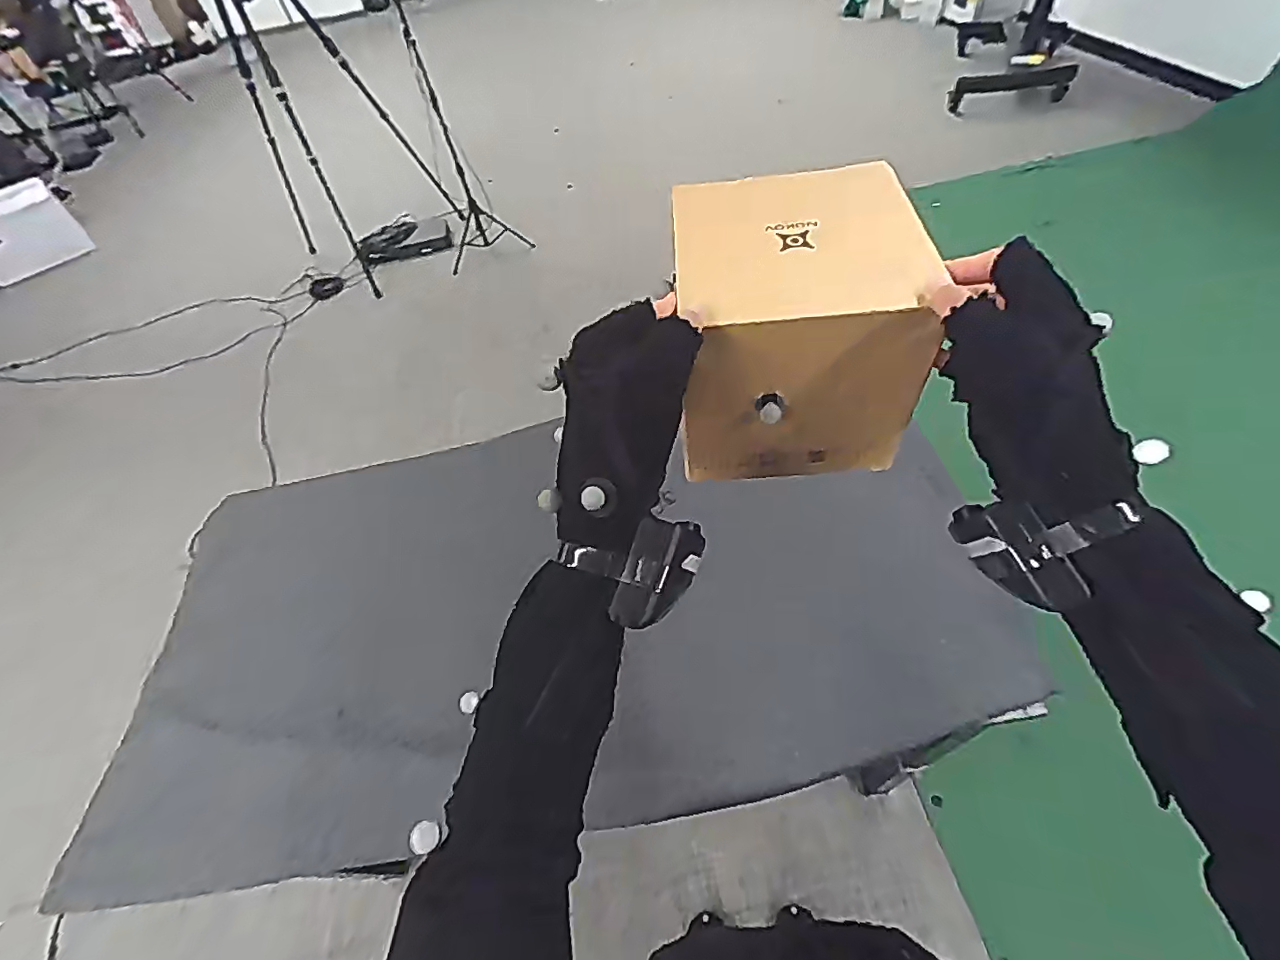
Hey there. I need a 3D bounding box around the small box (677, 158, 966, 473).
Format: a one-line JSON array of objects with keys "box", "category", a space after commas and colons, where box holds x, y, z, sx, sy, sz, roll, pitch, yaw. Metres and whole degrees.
[{"box": [0.118, -0.117, 0.427, 0.168, 0.176, 0.179, -3, 54, 6], "category": "small box"}]
